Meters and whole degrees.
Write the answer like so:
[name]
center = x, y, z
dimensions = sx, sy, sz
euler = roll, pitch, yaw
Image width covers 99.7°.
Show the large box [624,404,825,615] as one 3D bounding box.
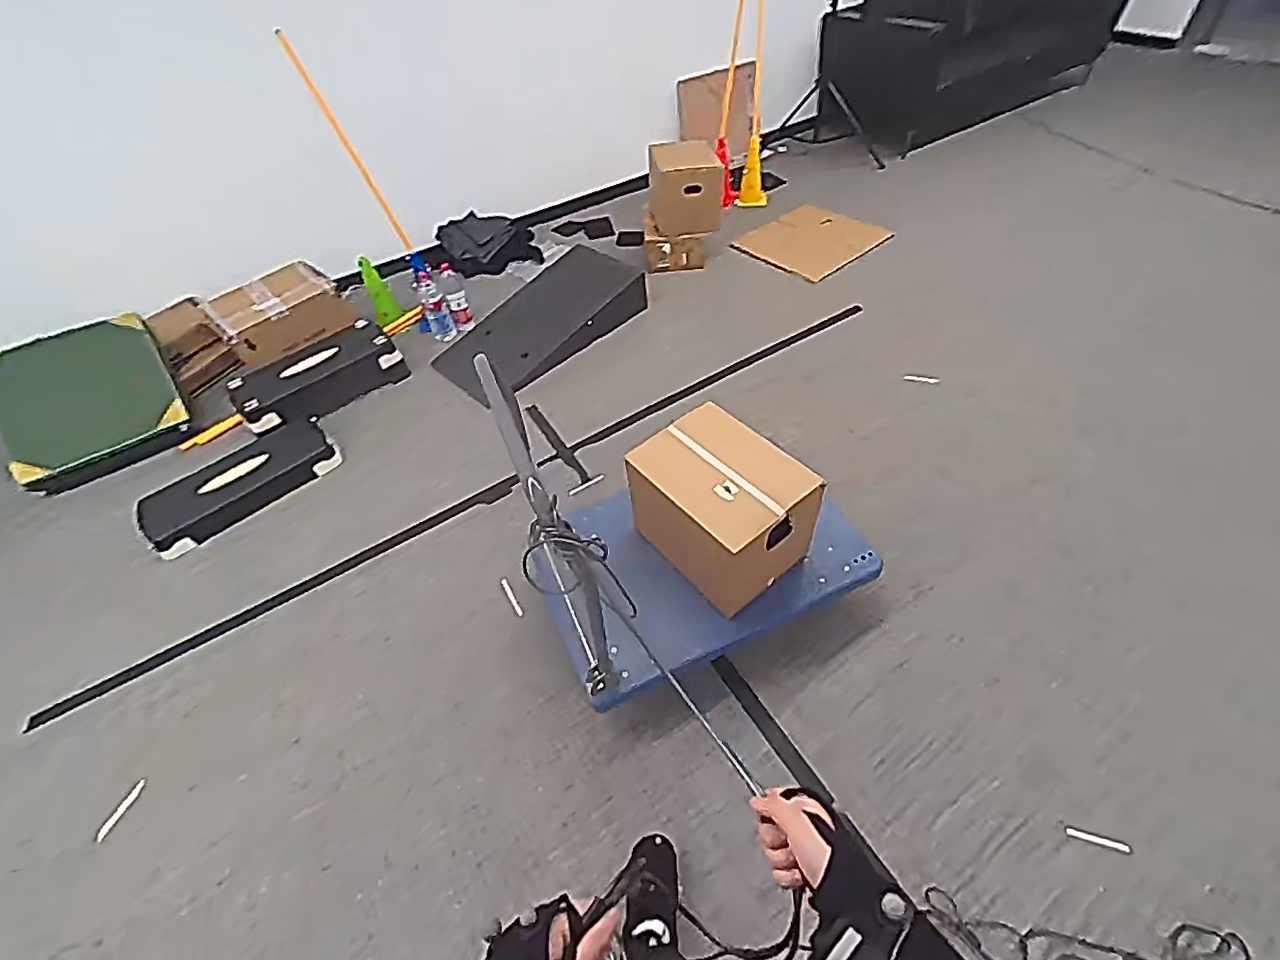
[large box]
center = 0.208, 0.071, 1.442
dimensions = 0.320, 0.320, 0.408
euler = -35, 55, -21
